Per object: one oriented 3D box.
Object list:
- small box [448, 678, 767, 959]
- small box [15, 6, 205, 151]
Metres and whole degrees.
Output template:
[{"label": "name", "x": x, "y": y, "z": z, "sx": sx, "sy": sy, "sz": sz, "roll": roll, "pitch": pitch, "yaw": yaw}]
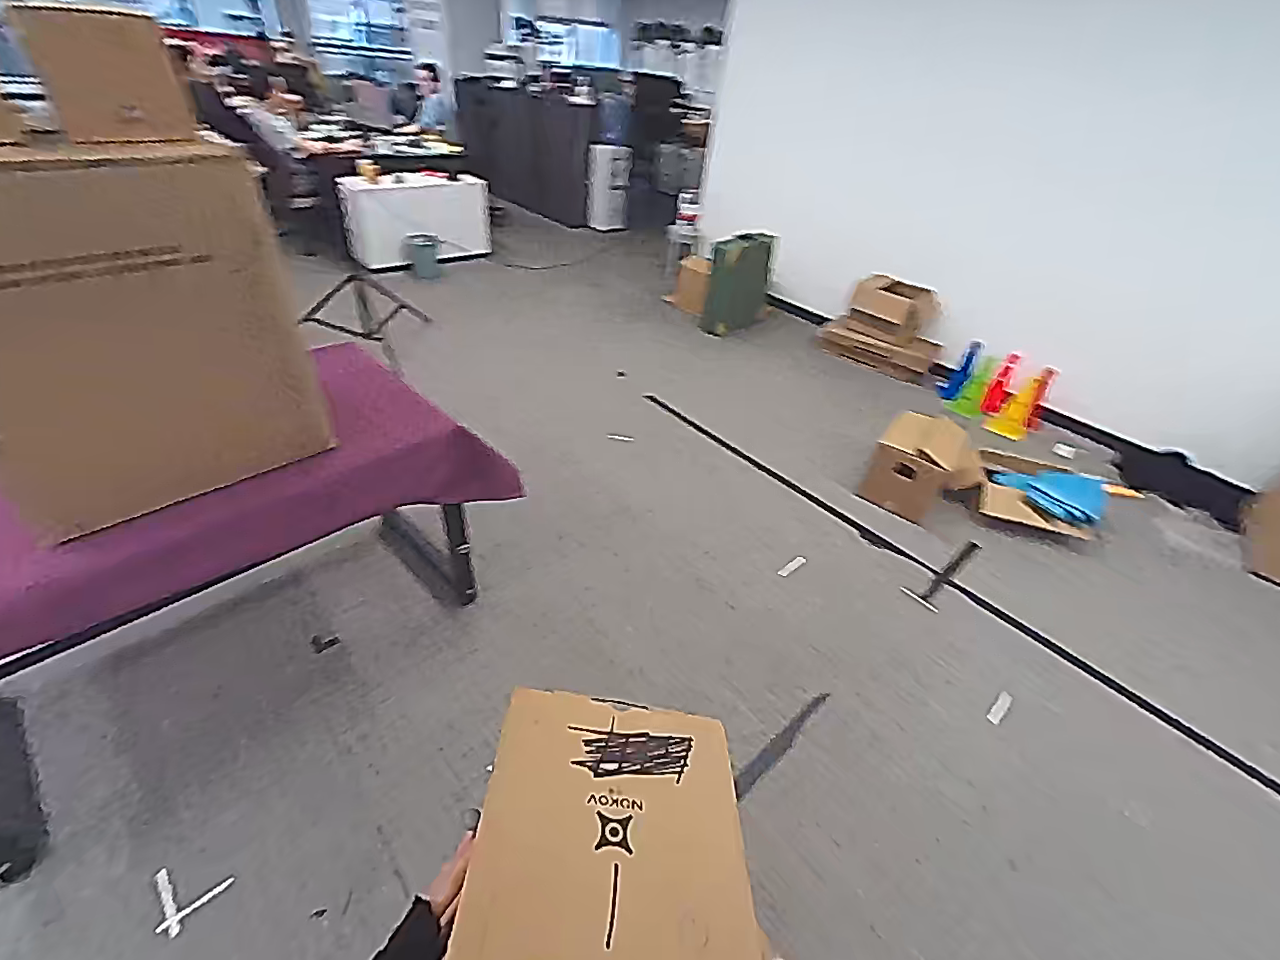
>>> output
[{"label": "small box", "x": -0.033, "y": 0.273, "z": 0.374, "sx": 0.168, "sy": 0.176, "sz": 0.179, "roll": 11, "pitch": 26, "yaw": -7}, {"label": "small box", "x": -0.865, "y": -0.661, "z": 0.900, "sx": 0.179, "sy": 0.176, "sz": 0.168, "roll": -29, "pitch": 51, "yaw": -36}]
